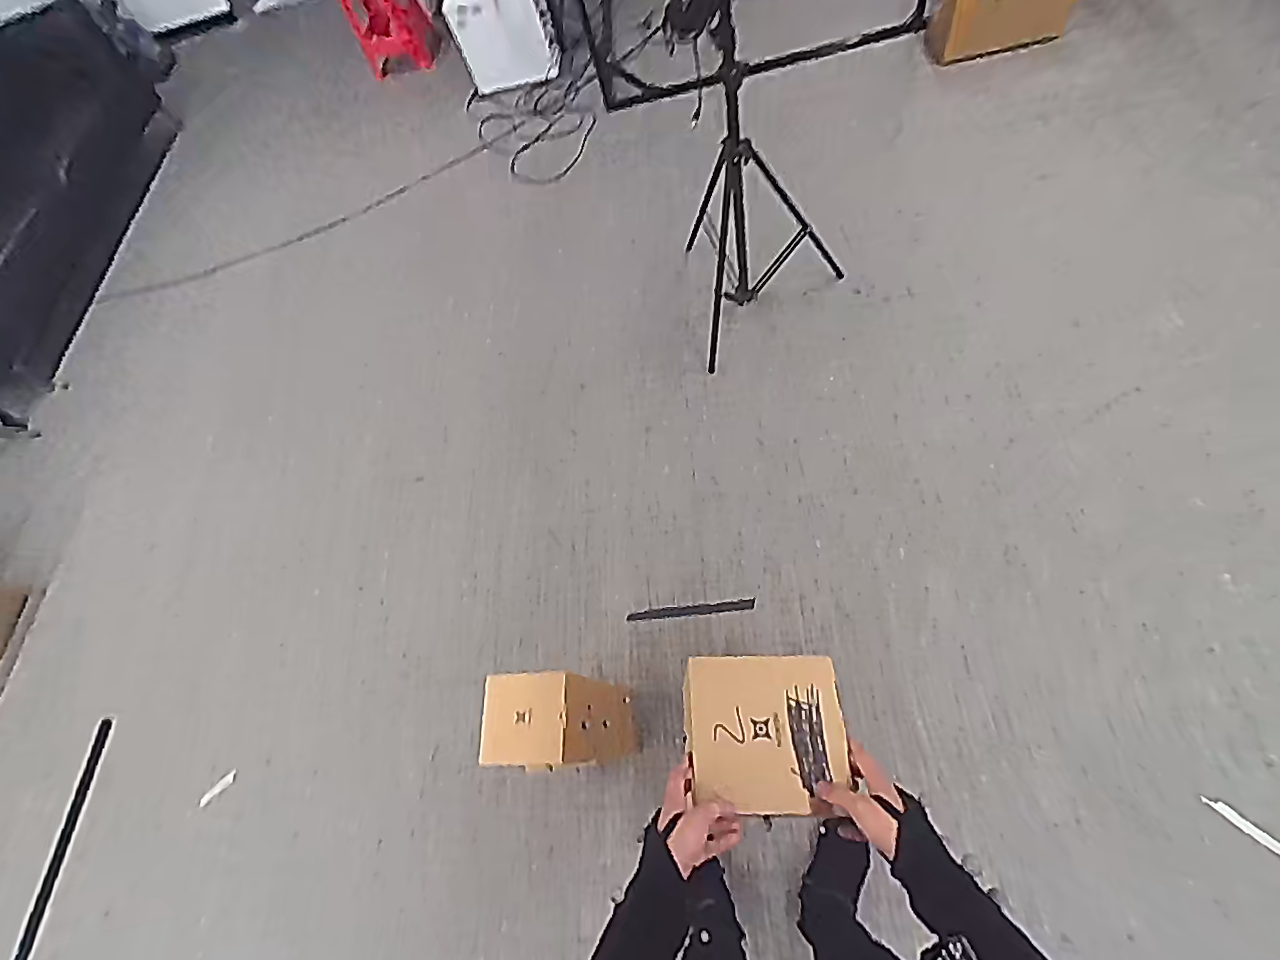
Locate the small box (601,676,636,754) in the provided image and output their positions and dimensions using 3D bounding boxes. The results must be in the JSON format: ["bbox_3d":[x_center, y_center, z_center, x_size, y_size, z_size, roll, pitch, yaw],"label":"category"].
[{"bbox_3d":[-0.115,0.622,1.410,0.168,0.176,0.179,-13,64,8],"label":"small box"}]

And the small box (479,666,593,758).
[{"bbox_3d":[-0.208,0.487,1.128,0.179,0.176,0.168,-7,64,11],"label":"small box"}]

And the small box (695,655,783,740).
[{"bbox_3d":[0.219,0.485,1.204,0.179,0.176,0.168,-5,64,11],"label":"small box"}]

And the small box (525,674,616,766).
[{"bbox_3d":[-0.159,0.561,1.264,0.168,0.176,0.179,-11,64,10],"label":"small box"}]
